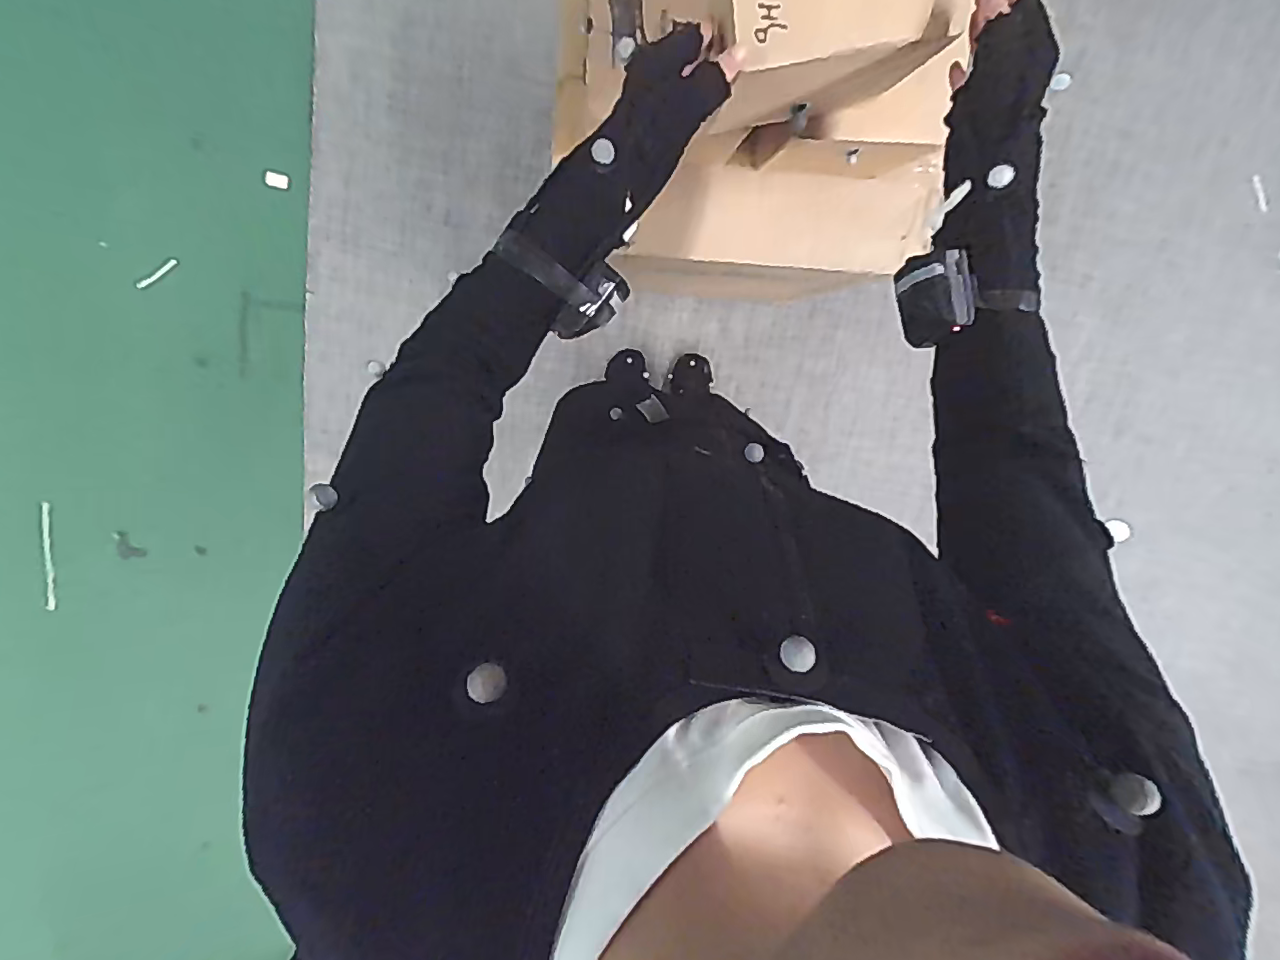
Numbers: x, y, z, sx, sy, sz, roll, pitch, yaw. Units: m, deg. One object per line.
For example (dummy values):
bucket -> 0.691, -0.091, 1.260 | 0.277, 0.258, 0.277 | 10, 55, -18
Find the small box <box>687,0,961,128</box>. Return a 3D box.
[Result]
small box -> 0.141, -0.425, 0.459 | 0.179, 0.176, 0.168 | -10, 109, -1

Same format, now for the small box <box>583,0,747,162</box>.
small box -> 0.029, -0.473, 0.610 | 0.179, 0.176, 0.168 | 2, 109, -4
